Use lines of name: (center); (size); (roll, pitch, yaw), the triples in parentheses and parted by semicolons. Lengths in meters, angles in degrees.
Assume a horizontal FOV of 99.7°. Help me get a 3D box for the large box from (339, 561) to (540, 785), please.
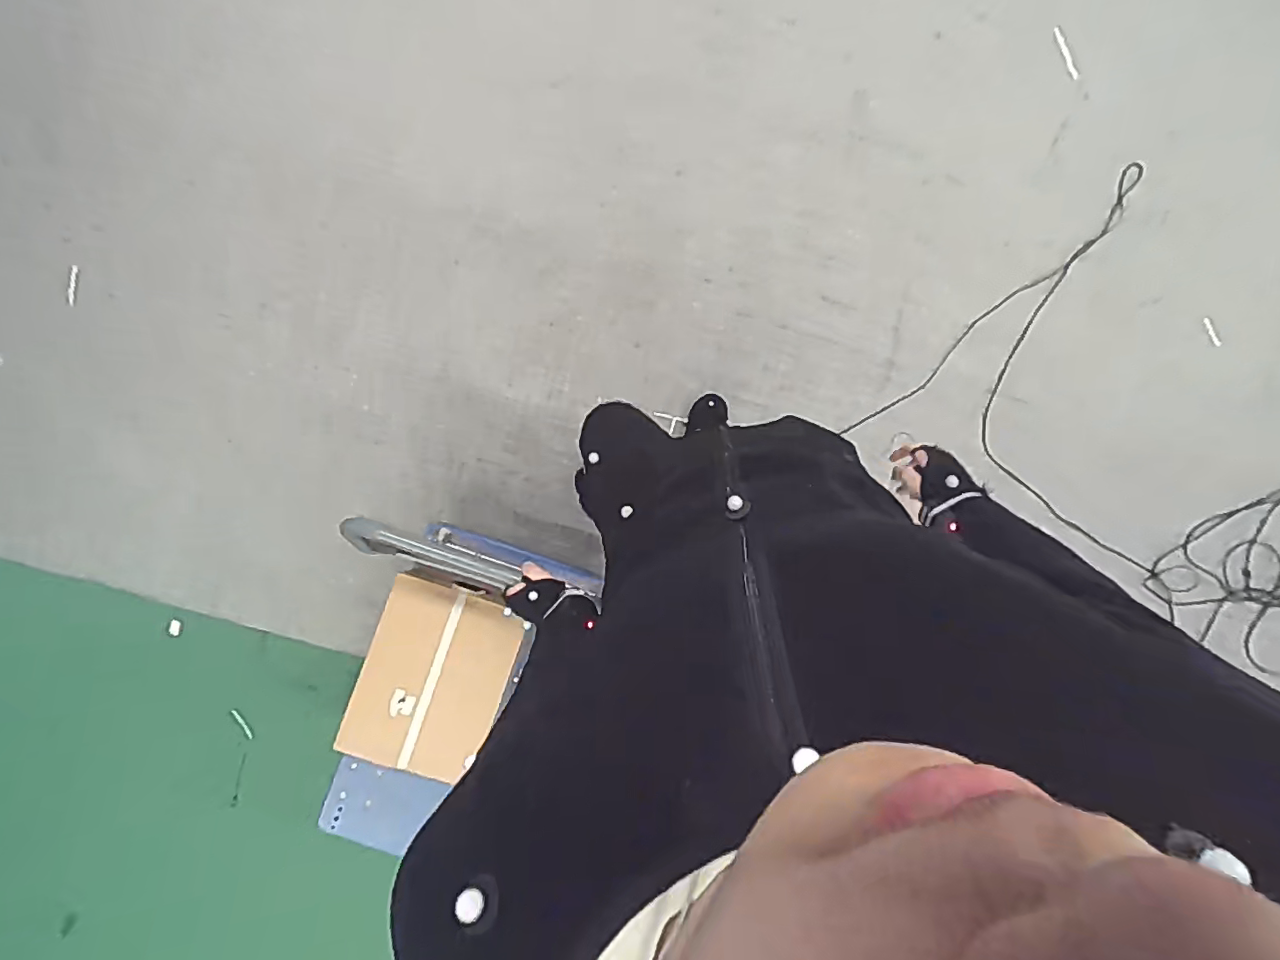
large box: (-0.462, 0.443, 1.335); (0.320, 0.320, 0.408); (19, 85, -4)
